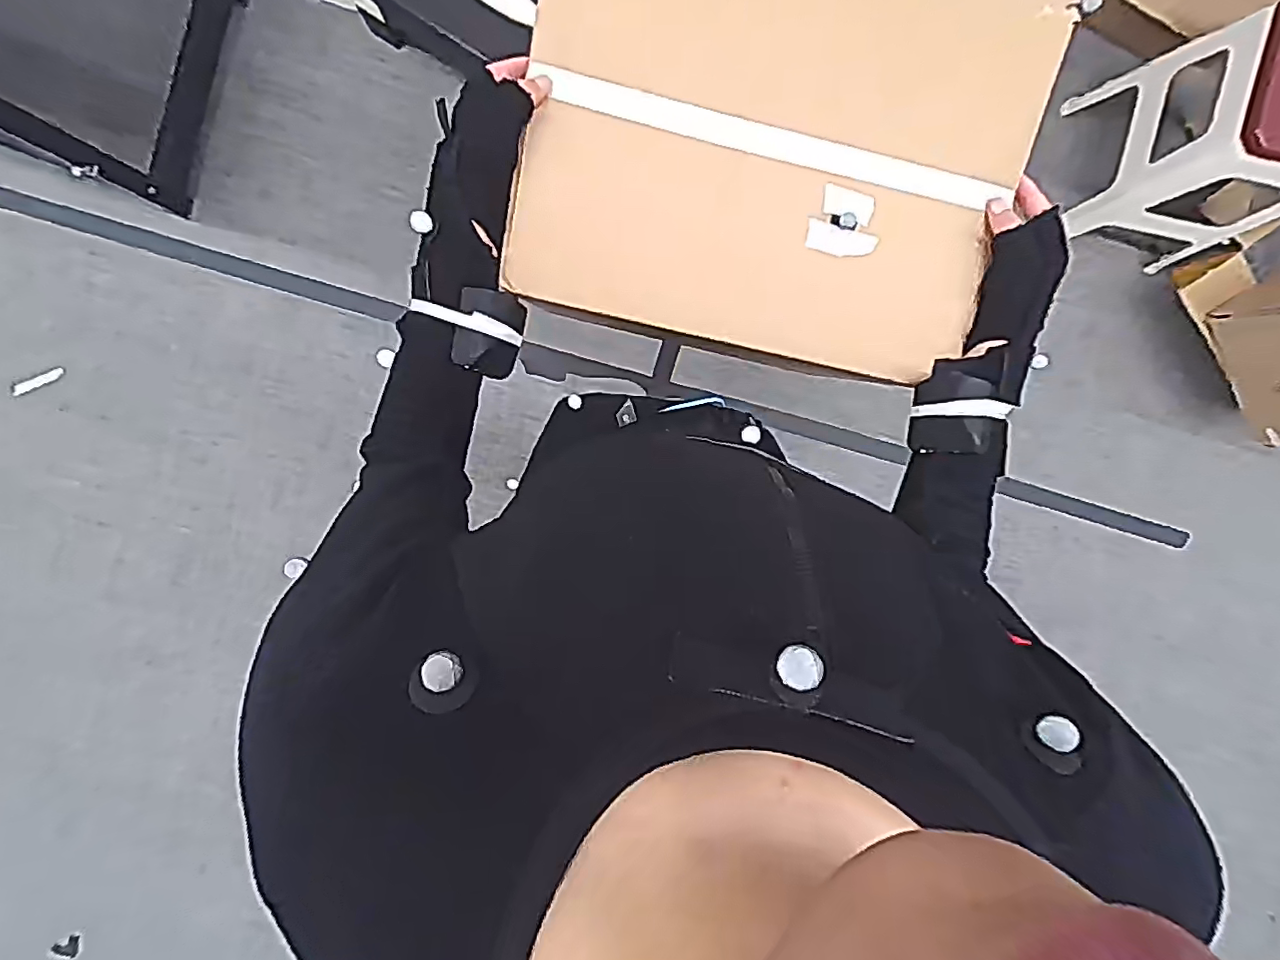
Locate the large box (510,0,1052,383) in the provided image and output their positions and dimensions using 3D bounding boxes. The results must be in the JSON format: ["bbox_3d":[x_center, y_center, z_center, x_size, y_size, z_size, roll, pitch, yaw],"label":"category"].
[{"bbox_3d":[0.099,-0.305,0.590,0.408,0.320,0.320,11,104,-7],"label":"large box"}]
